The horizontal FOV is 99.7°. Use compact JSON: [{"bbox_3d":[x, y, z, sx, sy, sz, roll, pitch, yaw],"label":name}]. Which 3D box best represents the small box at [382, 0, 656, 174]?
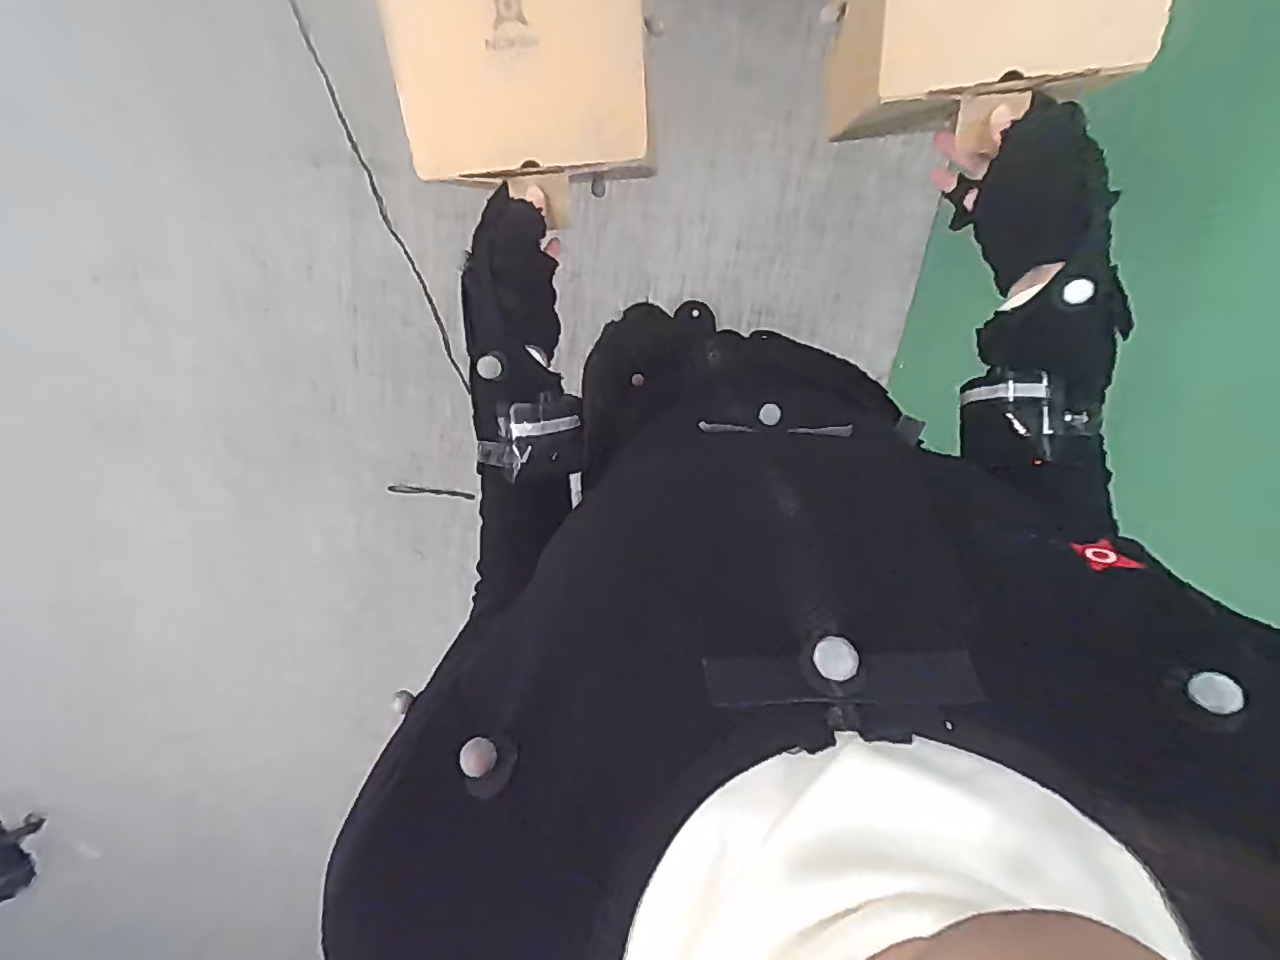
[{"bbox_3d":[-0.076,-0.336,0.406,0.168,0.176,0.179,-3,116,4],"label":"small box"}]

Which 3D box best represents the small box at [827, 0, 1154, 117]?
[{"bbox_3d":[0.238,-0.379,0.389,0.168,0.176,0.179,-2,115,7],"label":"small box"}]
